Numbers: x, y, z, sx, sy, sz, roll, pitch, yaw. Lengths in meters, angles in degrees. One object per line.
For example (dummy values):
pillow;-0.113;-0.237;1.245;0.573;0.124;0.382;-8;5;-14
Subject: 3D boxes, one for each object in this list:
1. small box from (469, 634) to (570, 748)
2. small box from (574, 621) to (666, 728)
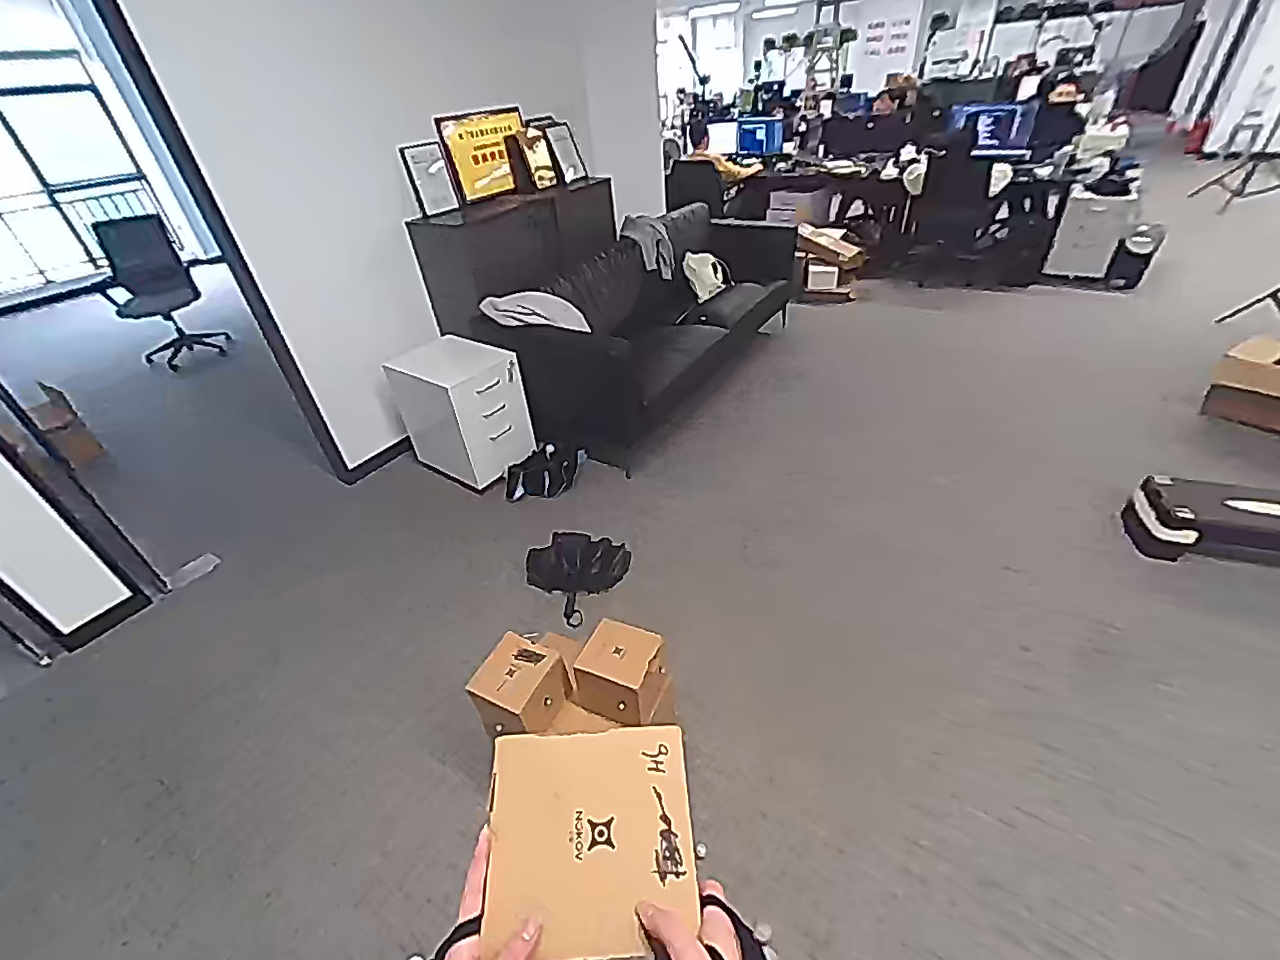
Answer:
small box;-0.291;0.527;1.354;0.168;0.176;0.179;13;44;25
small box;-0.043;0.492;1.365;0.179;0.176;0.168;10;36;22
